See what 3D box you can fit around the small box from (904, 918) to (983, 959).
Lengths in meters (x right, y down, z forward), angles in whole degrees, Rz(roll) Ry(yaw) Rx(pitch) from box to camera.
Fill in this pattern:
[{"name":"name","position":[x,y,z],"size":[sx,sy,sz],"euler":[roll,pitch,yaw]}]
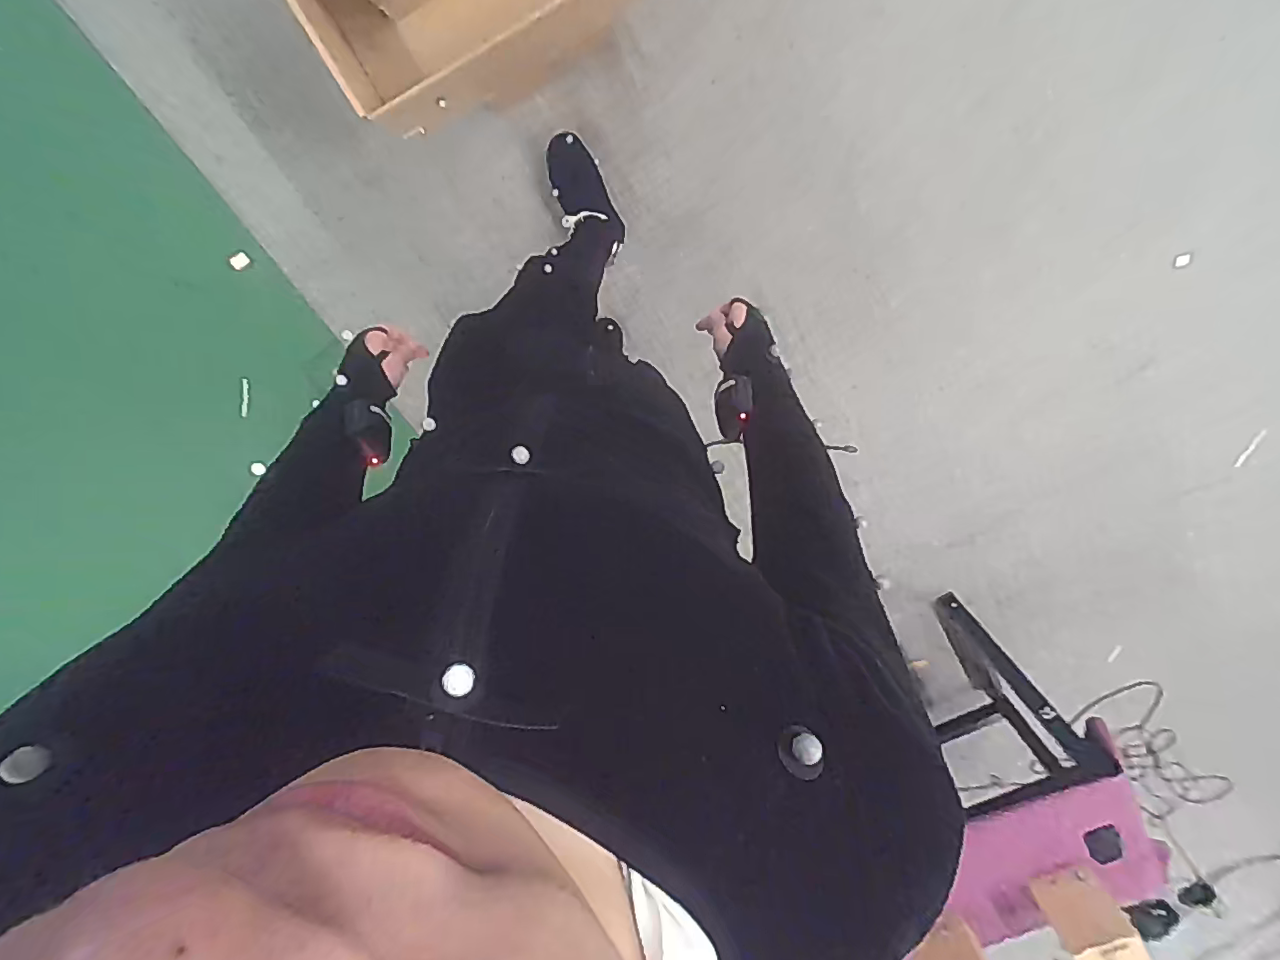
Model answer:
[{"name":"small box","position":[0.872,1.368,1.502],"size":[0.168,0.176,0.179],"euler":[-31,113,11]}]

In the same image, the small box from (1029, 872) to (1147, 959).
[{"name":"small box","position":[1.167,1.168,1.417],"size":[0.168,0.176,0.179],"euler":[-30,114,12]}]
